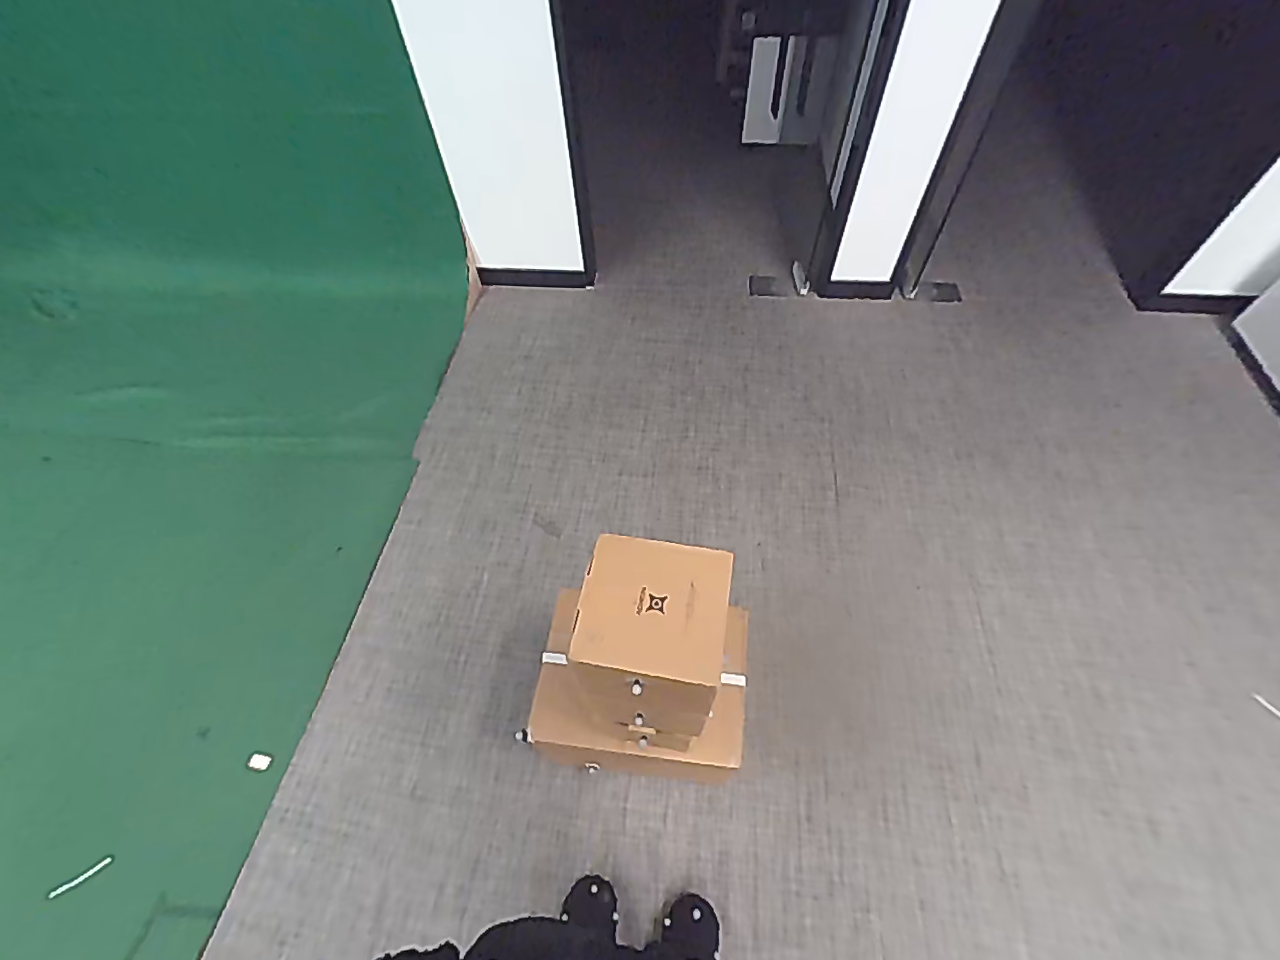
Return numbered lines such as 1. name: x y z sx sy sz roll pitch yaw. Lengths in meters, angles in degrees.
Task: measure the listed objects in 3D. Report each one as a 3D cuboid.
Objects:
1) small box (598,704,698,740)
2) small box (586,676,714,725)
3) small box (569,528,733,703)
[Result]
1. small box: 0.032 0.359 0.982 0.168 0.176 0.179 7 58 8
2. small box: 0.029 0.272 0.842 0.179 0.176 0.168 6 57 9
3. small box: 0.022 0.182 0.708 0.179 0.176 0.168 7 58 7
